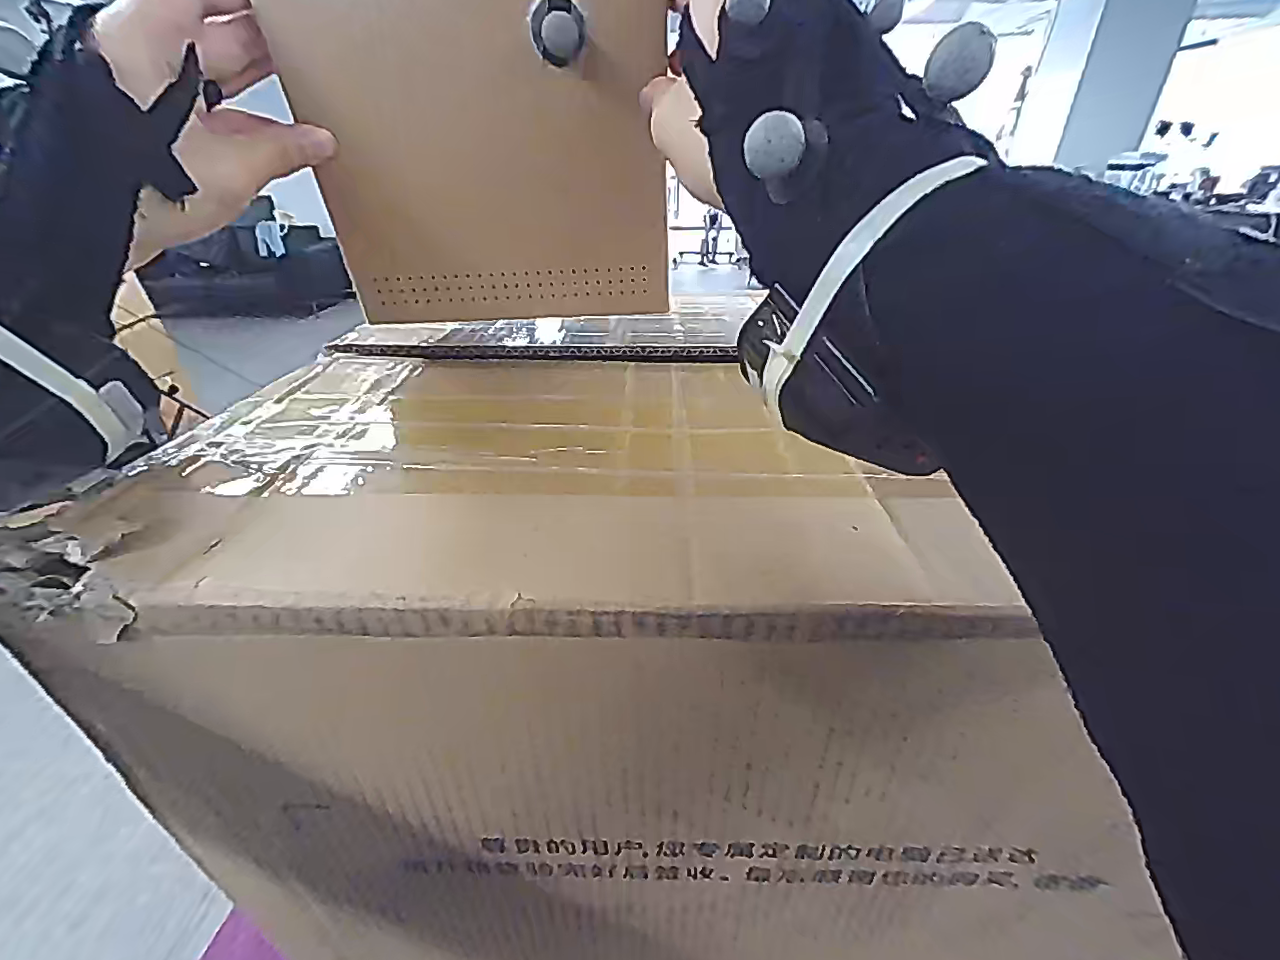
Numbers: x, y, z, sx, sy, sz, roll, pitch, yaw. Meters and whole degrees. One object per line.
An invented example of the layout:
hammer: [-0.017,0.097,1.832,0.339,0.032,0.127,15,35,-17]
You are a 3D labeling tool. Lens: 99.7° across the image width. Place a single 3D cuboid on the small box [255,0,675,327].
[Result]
small box: [-0.071,-0.202,0.321,0.179,0.176,0.168,-2,38,1]
